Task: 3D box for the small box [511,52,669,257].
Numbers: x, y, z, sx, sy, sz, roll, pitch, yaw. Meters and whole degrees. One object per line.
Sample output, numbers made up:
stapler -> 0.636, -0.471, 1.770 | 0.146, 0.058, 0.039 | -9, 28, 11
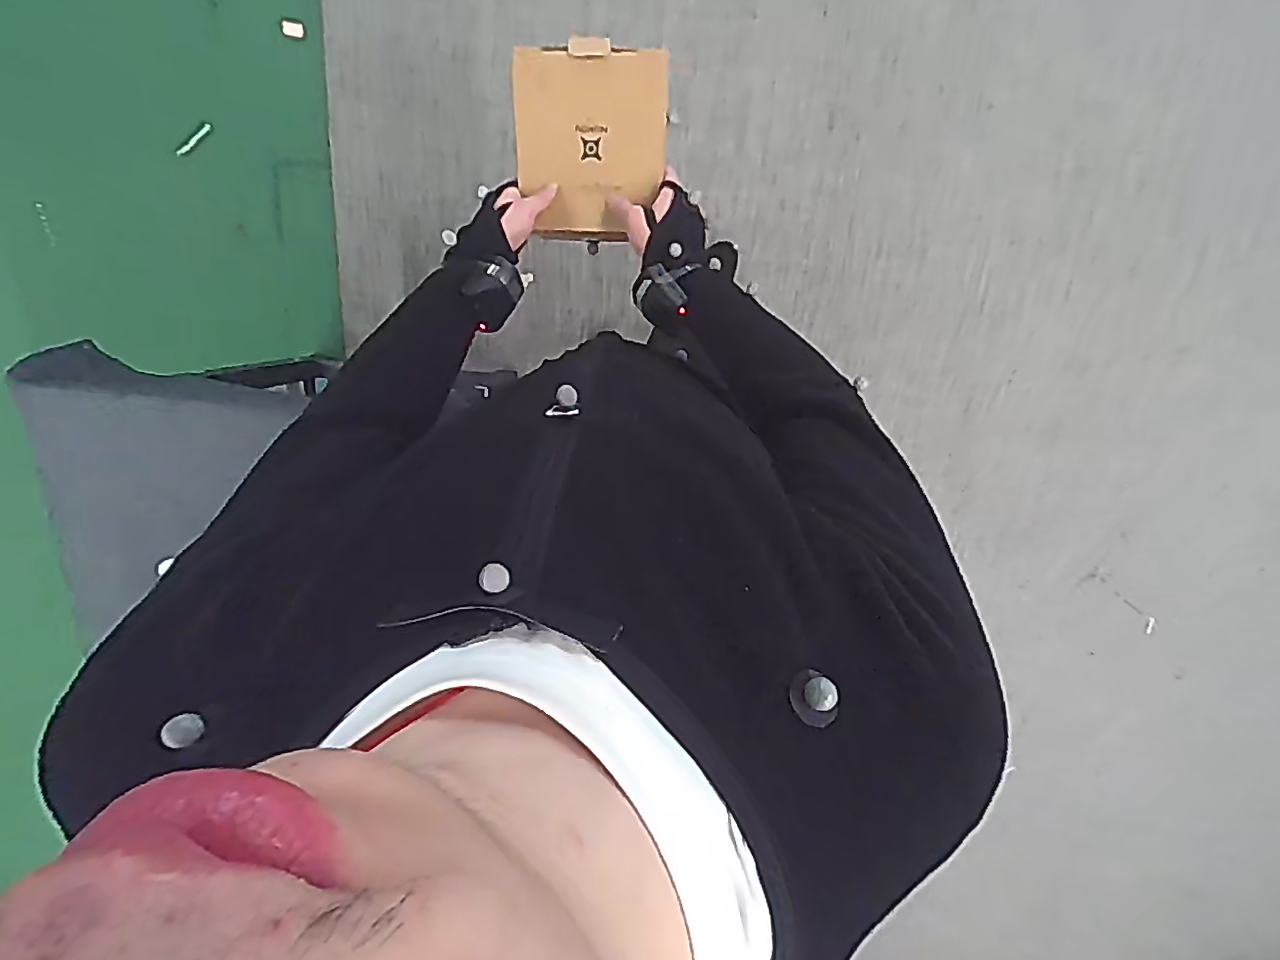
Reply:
small box -> -0.056, -0.376, 0.657 | 0.168, 0.176, 0.179 | 4, 109, 1
